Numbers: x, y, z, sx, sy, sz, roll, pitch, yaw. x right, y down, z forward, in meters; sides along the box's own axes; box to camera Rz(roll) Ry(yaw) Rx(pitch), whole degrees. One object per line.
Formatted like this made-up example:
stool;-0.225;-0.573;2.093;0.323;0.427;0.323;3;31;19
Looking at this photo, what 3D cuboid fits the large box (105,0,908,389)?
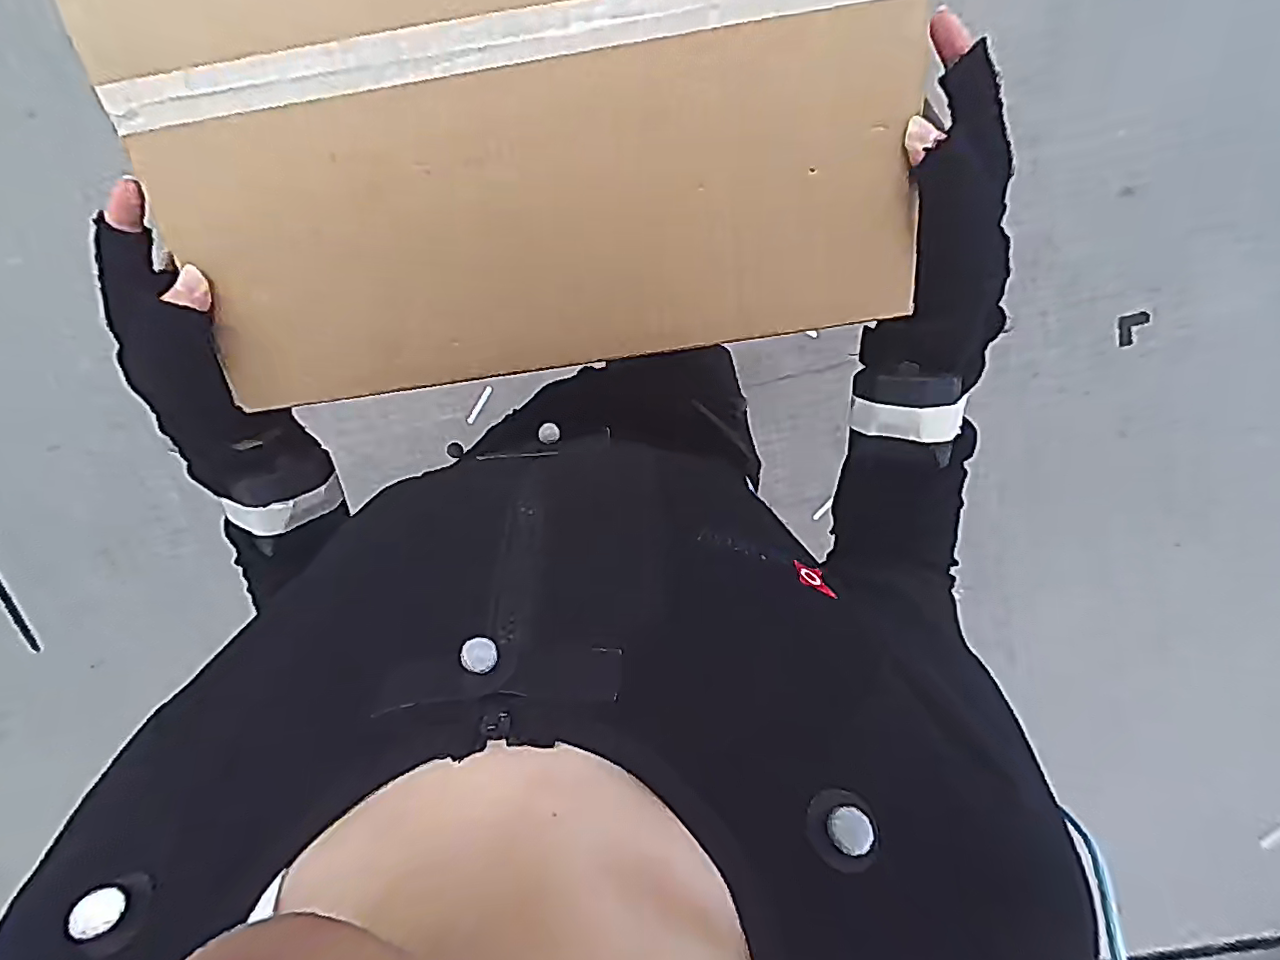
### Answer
large box;-0.066;-0.280;0.412;0.408;0.320;0.320;-8;112;3
